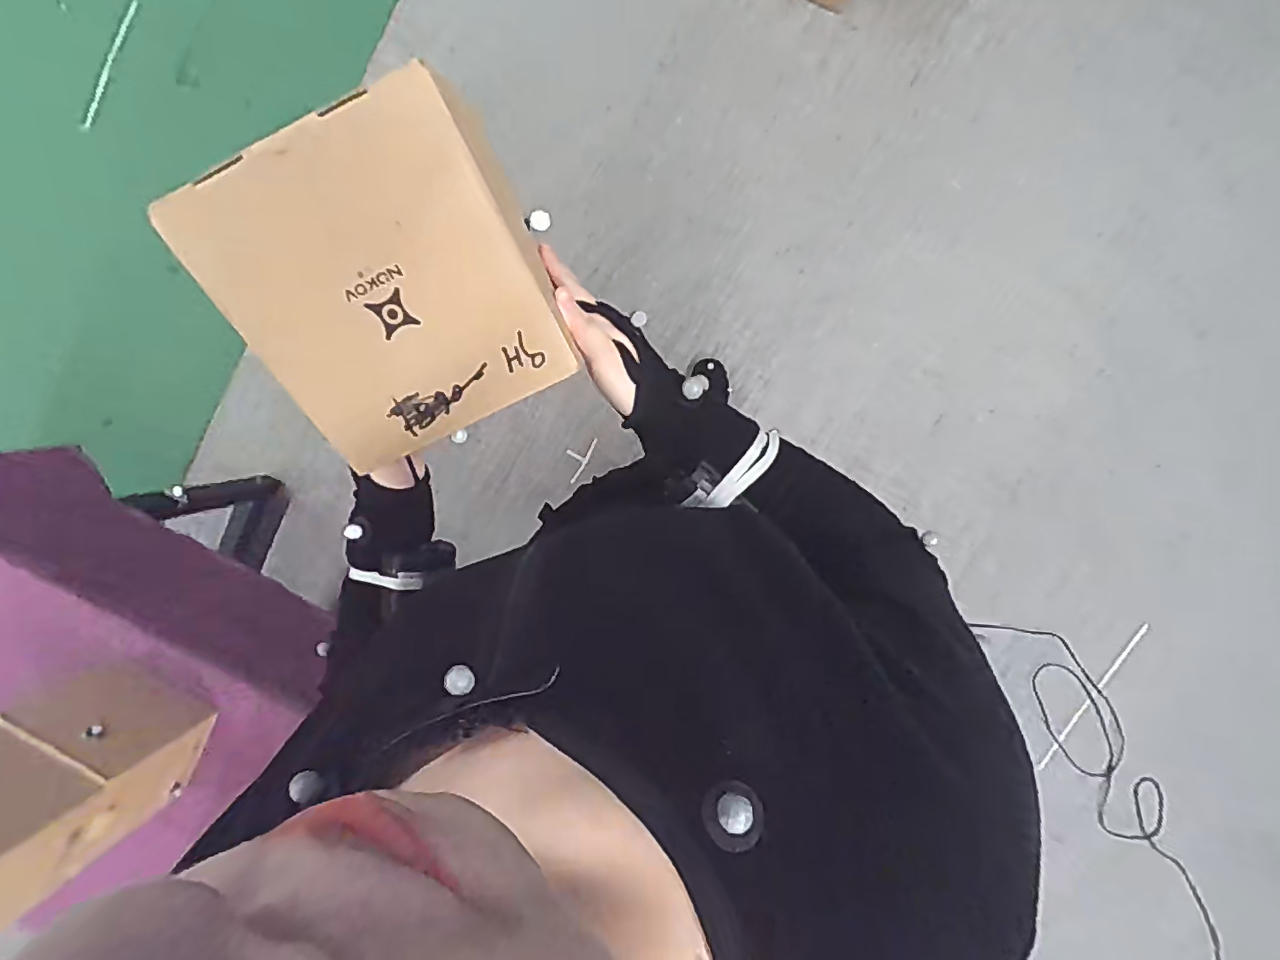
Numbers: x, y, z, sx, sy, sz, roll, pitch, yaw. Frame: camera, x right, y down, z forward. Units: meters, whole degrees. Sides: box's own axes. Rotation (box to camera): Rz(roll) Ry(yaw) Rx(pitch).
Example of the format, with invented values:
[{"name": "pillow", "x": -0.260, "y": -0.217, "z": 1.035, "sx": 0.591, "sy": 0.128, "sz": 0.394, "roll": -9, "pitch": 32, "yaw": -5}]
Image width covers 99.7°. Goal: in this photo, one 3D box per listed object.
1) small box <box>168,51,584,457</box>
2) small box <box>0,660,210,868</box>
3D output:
[{"name": "small box", "x": -0.151, "y": -0.149, "z": 0.384, "sx": 0.168, "sy": 0.176, "sz": 0.179, "roll": -23, "pitch": 117, "yaw": 5}, {"name": "small box", "x": -0.785, "y": 0.394, "z": 0.783, "sx": 0.179, "sy": 0.176, "sz": 0.168, "roll": 29, "pitch": 98, "yaw": 1}]
